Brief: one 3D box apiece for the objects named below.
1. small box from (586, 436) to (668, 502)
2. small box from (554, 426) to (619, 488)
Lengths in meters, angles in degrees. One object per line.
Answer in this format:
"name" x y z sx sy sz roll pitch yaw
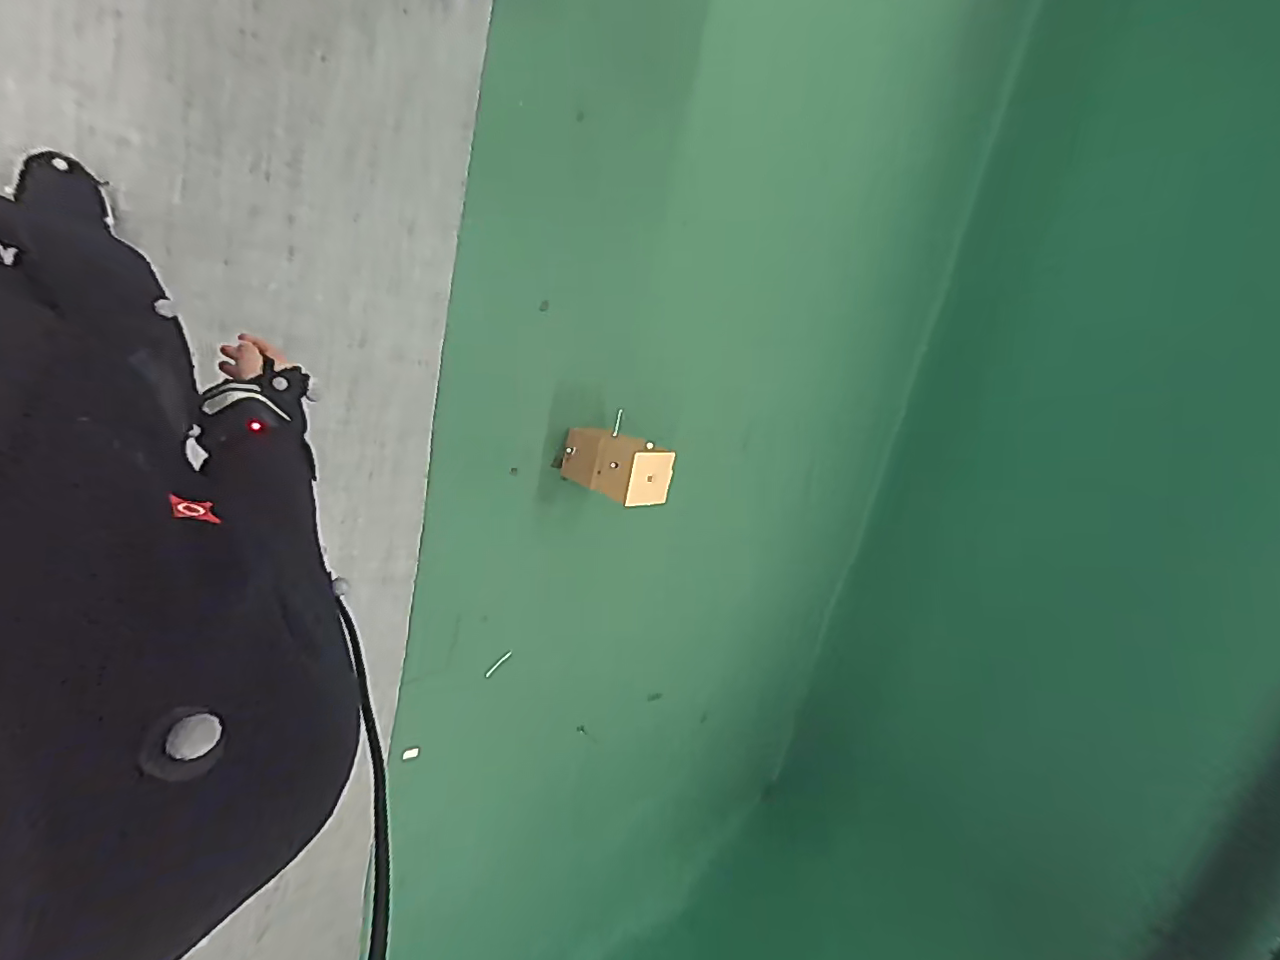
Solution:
"small box" -0.043 -0.037 1.663 0.179 0.176 0.168 -4 110 -46
"small box" -0.154 -0.079 1.776 0.179 0.176 0.168 -2 108 -45
